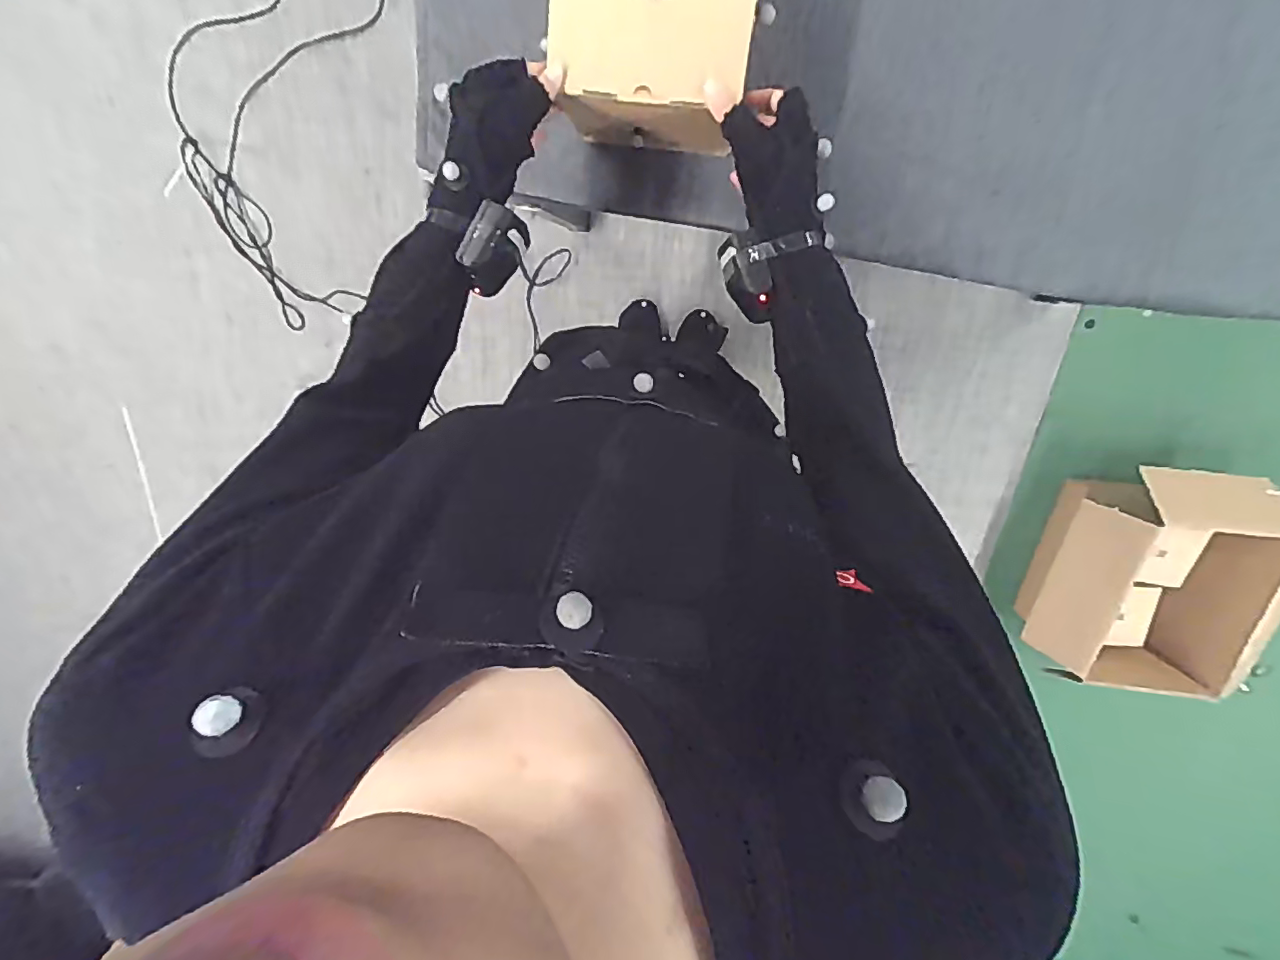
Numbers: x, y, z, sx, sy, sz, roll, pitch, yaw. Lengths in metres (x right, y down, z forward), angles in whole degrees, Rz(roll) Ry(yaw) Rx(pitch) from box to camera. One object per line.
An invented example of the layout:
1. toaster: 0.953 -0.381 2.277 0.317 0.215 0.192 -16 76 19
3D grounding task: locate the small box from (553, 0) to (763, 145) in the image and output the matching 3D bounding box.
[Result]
1. small box: 0.023 -0.432 0.494 0.168 0.176 0.179 7 112 3
